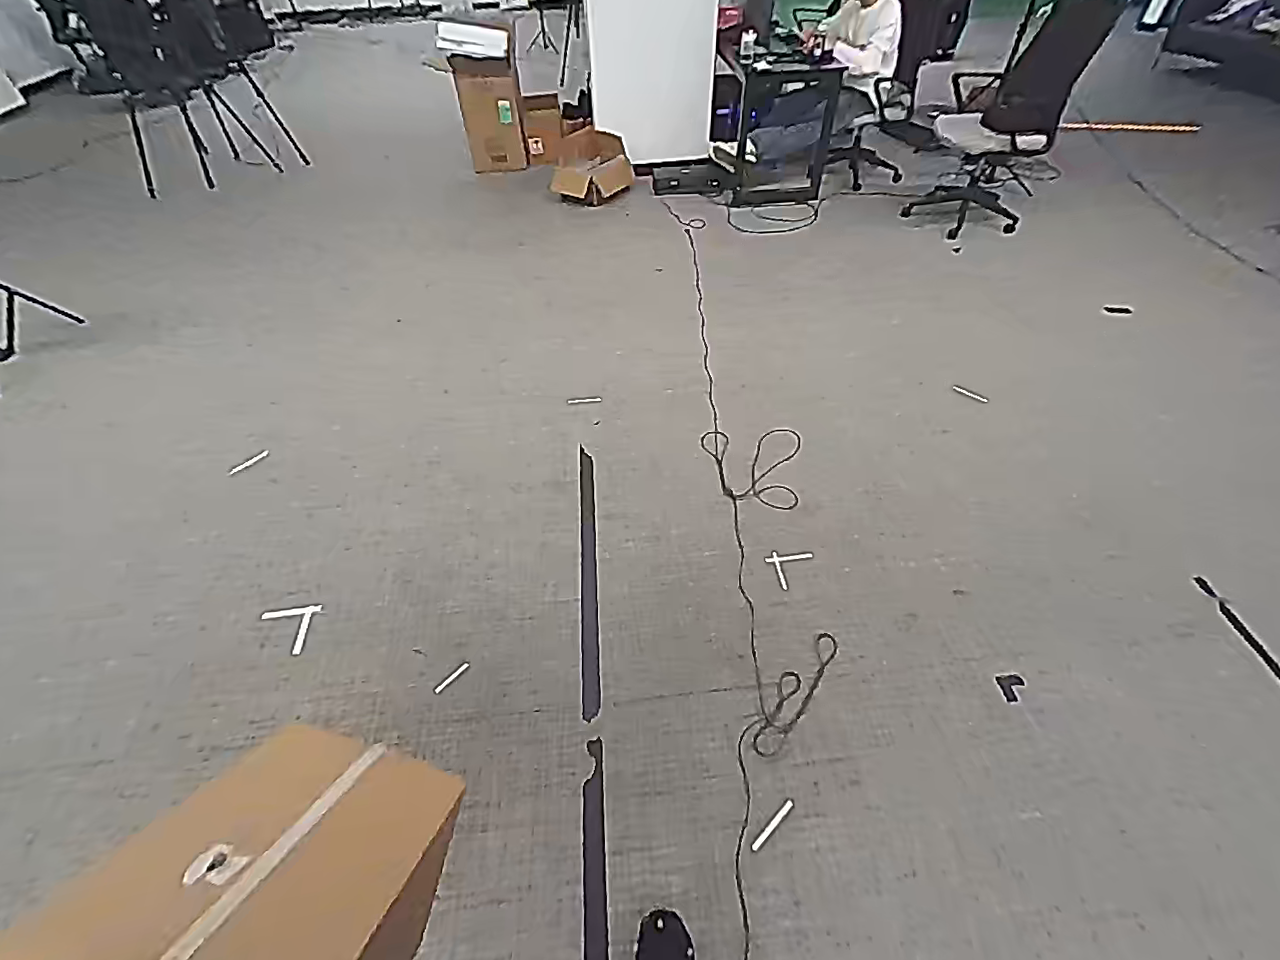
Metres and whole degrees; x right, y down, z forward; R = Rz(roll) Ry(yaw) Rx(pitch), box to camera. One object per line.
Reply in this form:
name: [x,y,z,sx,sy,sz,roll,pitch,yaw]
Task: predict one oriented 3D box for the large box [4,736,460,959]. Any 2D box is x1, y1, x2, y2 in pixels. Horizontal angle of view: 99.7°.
large box: [-0.495,0.629,0.716,0.320,0.408,0.320,16,95,4]
